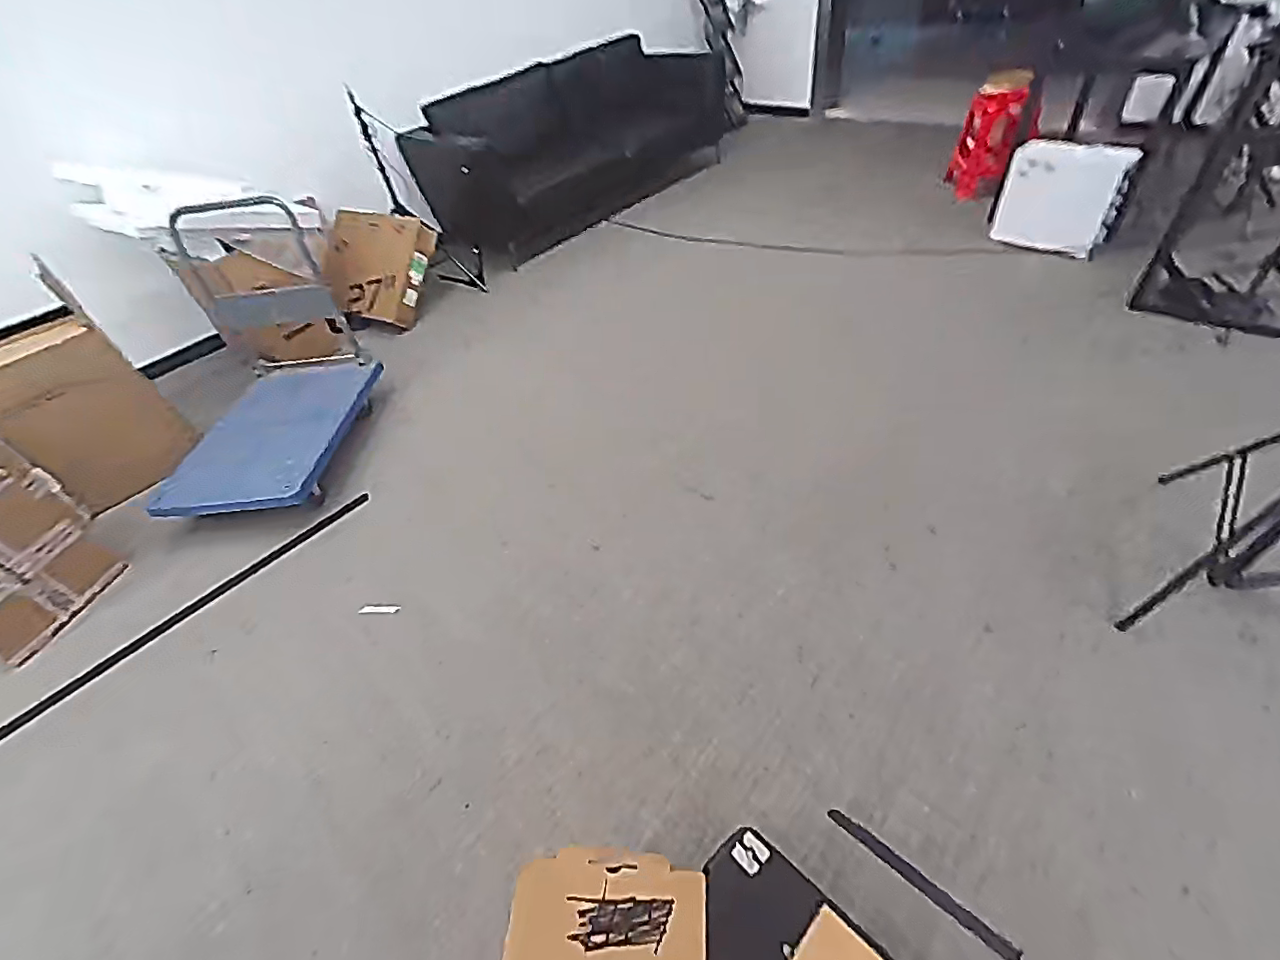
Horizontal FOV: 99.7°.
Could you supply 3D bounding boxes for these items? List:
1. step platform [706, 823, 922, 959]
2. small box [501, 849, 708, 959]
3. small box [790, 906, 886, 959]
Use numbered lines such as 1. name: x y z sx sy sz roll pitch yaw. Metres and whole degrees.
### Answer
1. step platform: 0.368 0.892 0.827 0.684 0.204 0.286 29 56 34
2. small box: -0.033 0.453 0.464 0.168 0.176 0.179 4 40 3
3. small box: 0.275 0.745 0.745 0.168 0.176 0.179 32 58 35
